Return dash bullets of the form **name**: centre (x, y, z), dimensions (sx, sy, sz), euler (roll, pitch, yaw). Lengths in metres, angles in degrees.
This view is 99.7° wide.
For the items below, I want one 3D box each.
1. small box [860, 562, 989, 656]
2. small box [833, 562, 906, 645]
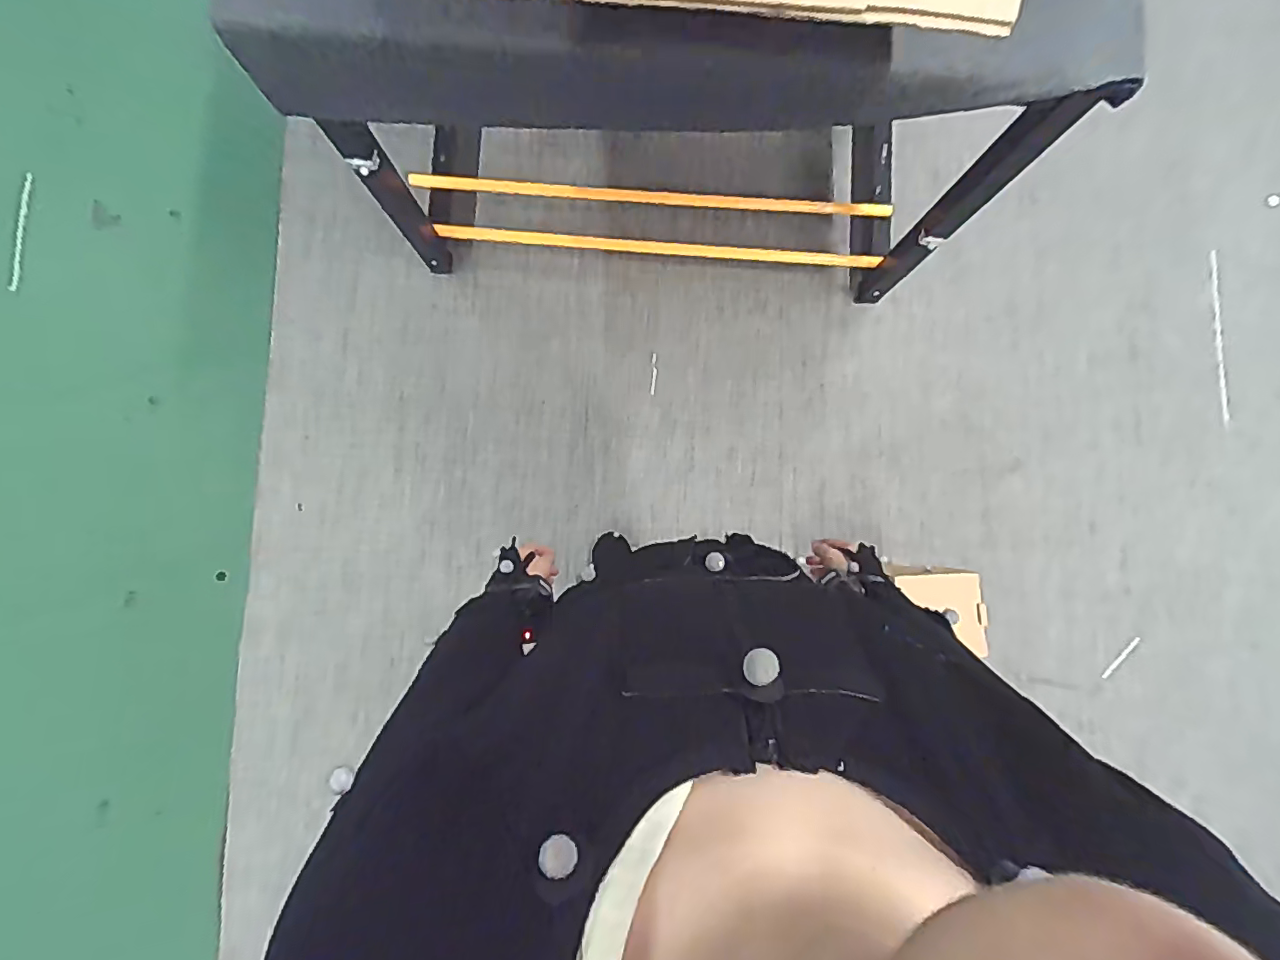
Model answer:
- **small box**: centre (0.584, 0.262, 1.129), dimensions (0.179, 0.176, 0.168), euler (-3, 84, -1)
- **small box**: centre (0.574, 0.287, 1.291), dimensions (0.168, 0.176, 0.179), euler (-3, 85, -2)
